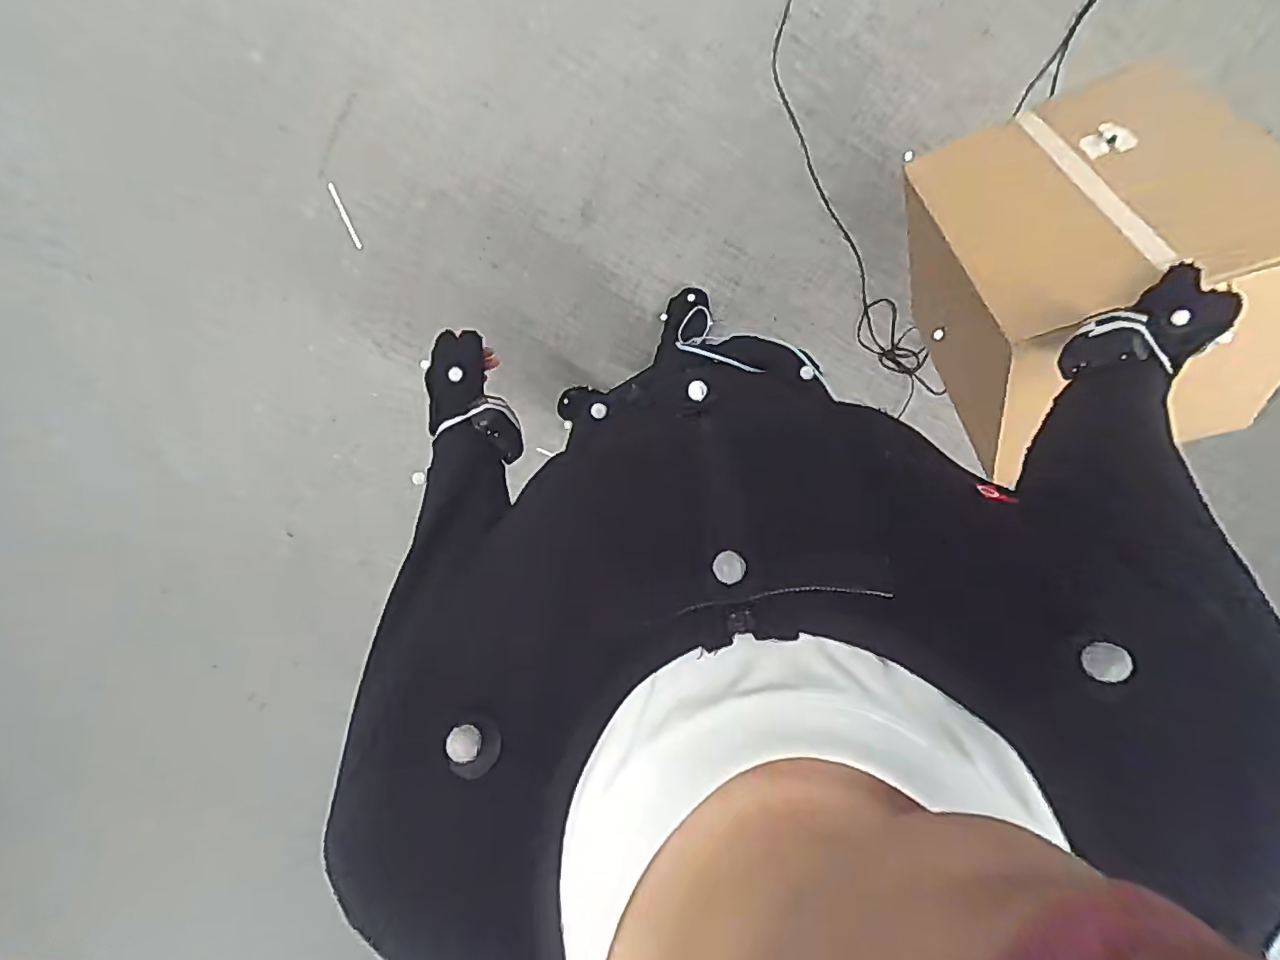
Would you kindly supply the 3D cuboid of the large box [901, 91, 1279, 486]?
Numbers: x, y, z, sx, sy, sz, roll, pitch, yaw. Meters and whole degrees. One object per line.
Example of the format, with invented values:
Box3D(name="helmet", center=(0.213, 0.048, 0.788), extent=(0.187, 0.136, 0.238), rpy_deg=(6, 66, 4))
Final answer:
Box3D(name="large box", center=(0.614, -0.262, 0.789), extent=(0.320, 0.408, 0.320), rpy_deg=(-15, 142, 18))
